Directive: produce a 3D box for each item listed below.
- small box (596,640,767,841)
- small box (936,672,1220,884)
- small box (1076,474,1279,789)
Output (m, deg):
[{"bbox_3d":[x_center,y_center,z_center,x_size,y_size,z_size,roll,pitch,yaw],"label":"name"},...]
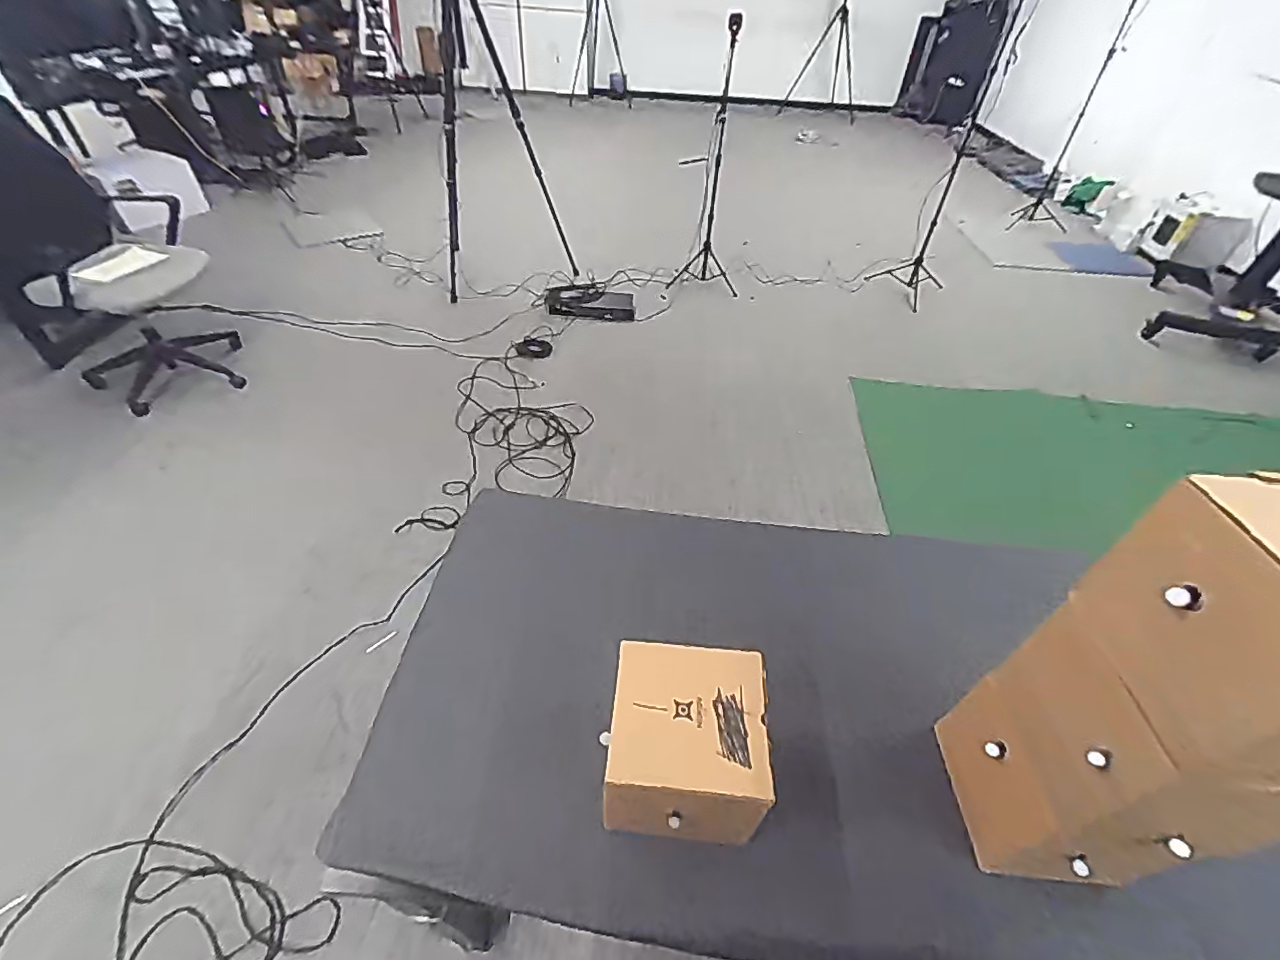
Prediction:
[{"bbox_3d":[0.046,0.317,0.655,0.179,0.176,0.168,5,43,2],"label":"small box"},{"bbox_3d":[0.490,0.356,0.643,0.168,0.176,0.179,5,43,1],"label":"small box"},{"bbox_3d":[0.501,0.116,0.418,0.168,0.176,0.179,2,42,-1],"label":"small box"}]
